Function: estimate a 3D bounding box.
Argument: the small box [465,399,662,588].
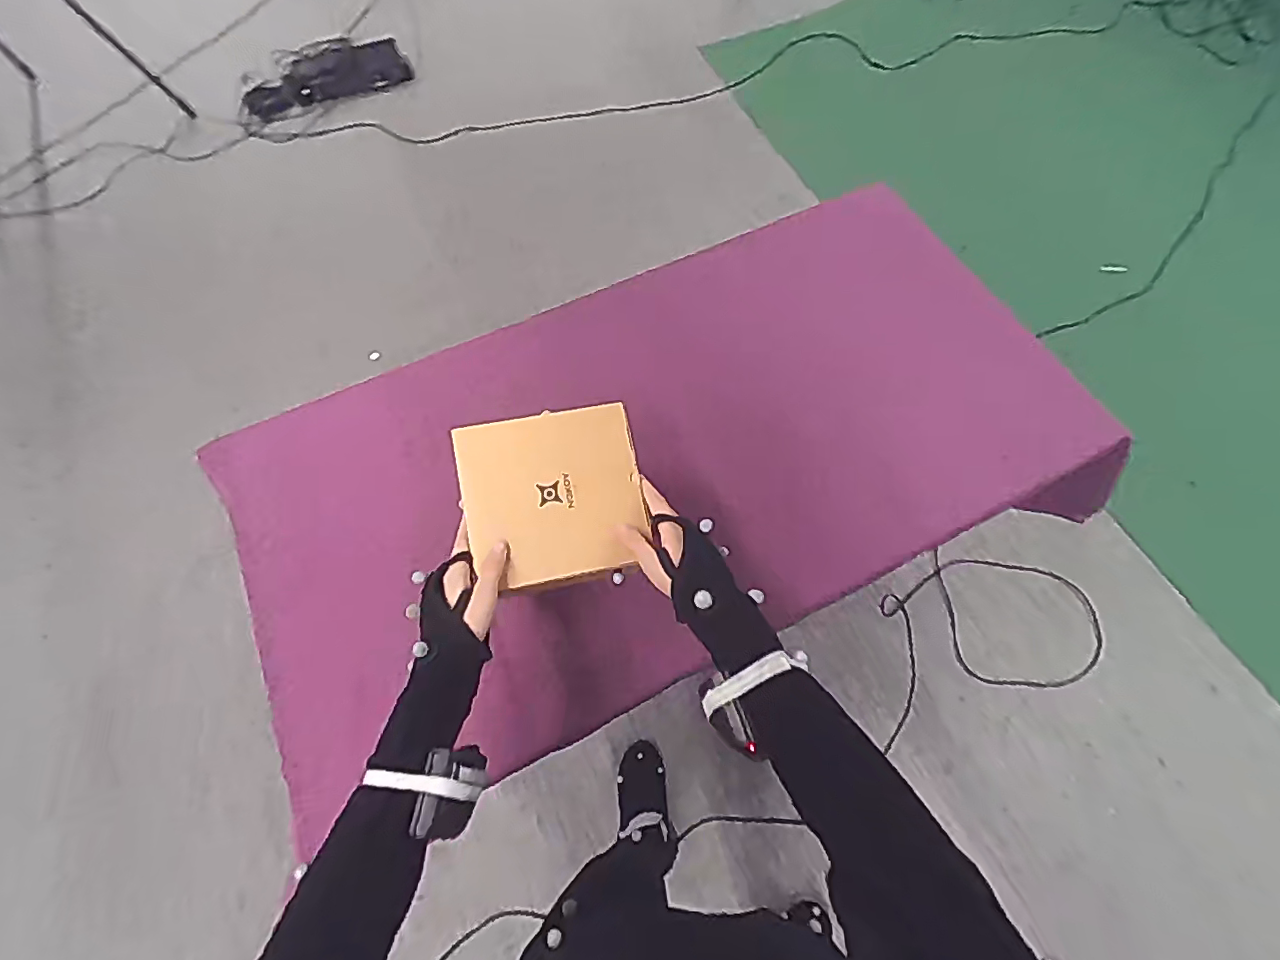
[{"bbox_3d":[-0.086,0.025,0.618,0.179,0.176,0.168,-10,78,-10],"label":"small box"}]
